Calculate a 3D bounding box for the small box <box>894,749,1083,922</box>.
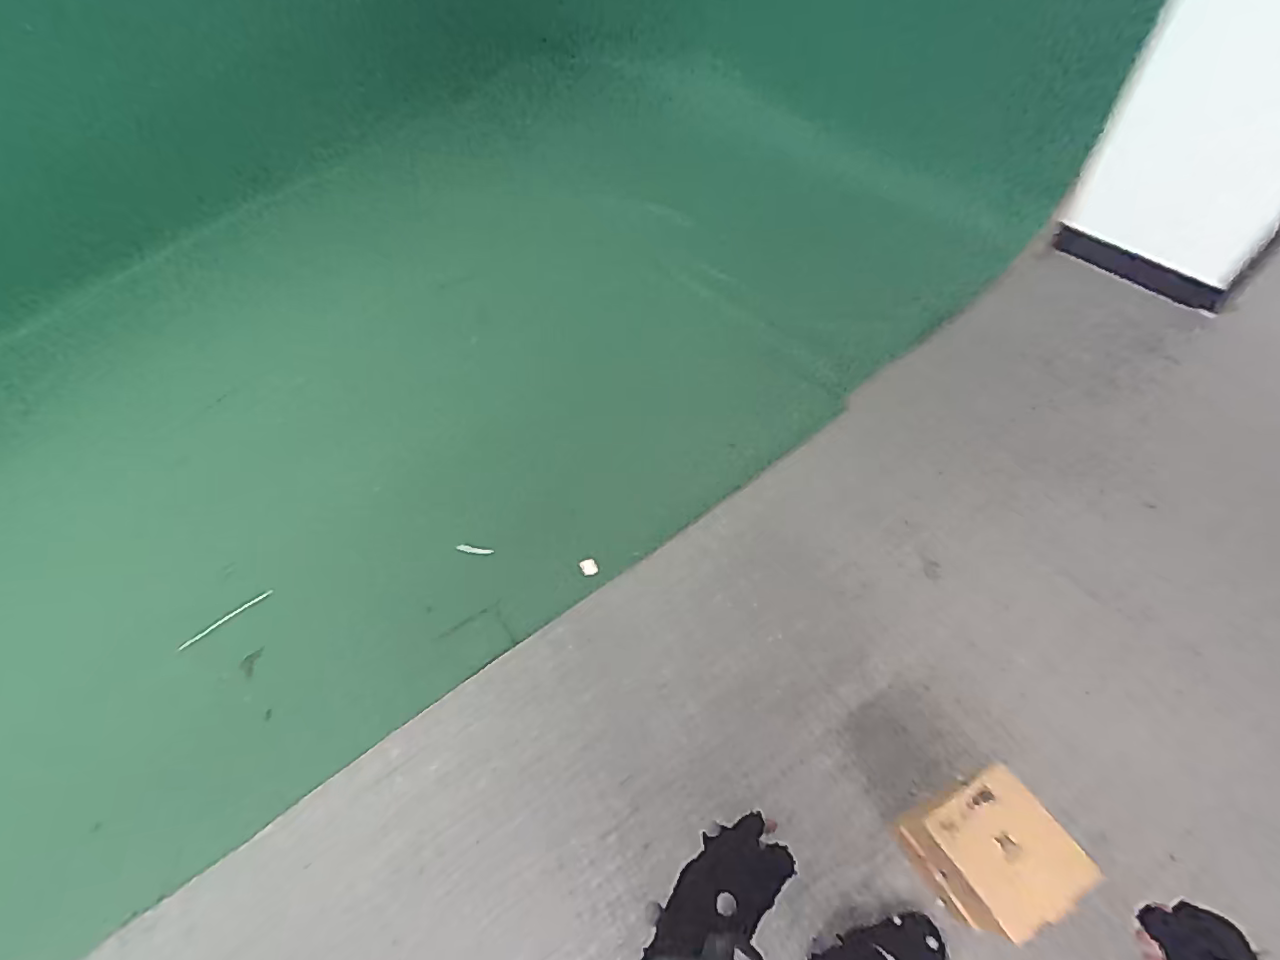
[{"bbox_3d":[0.558,0.572,0.895,0.168,0.176,0.179,-30,59,-5],"label":"small box"}]
